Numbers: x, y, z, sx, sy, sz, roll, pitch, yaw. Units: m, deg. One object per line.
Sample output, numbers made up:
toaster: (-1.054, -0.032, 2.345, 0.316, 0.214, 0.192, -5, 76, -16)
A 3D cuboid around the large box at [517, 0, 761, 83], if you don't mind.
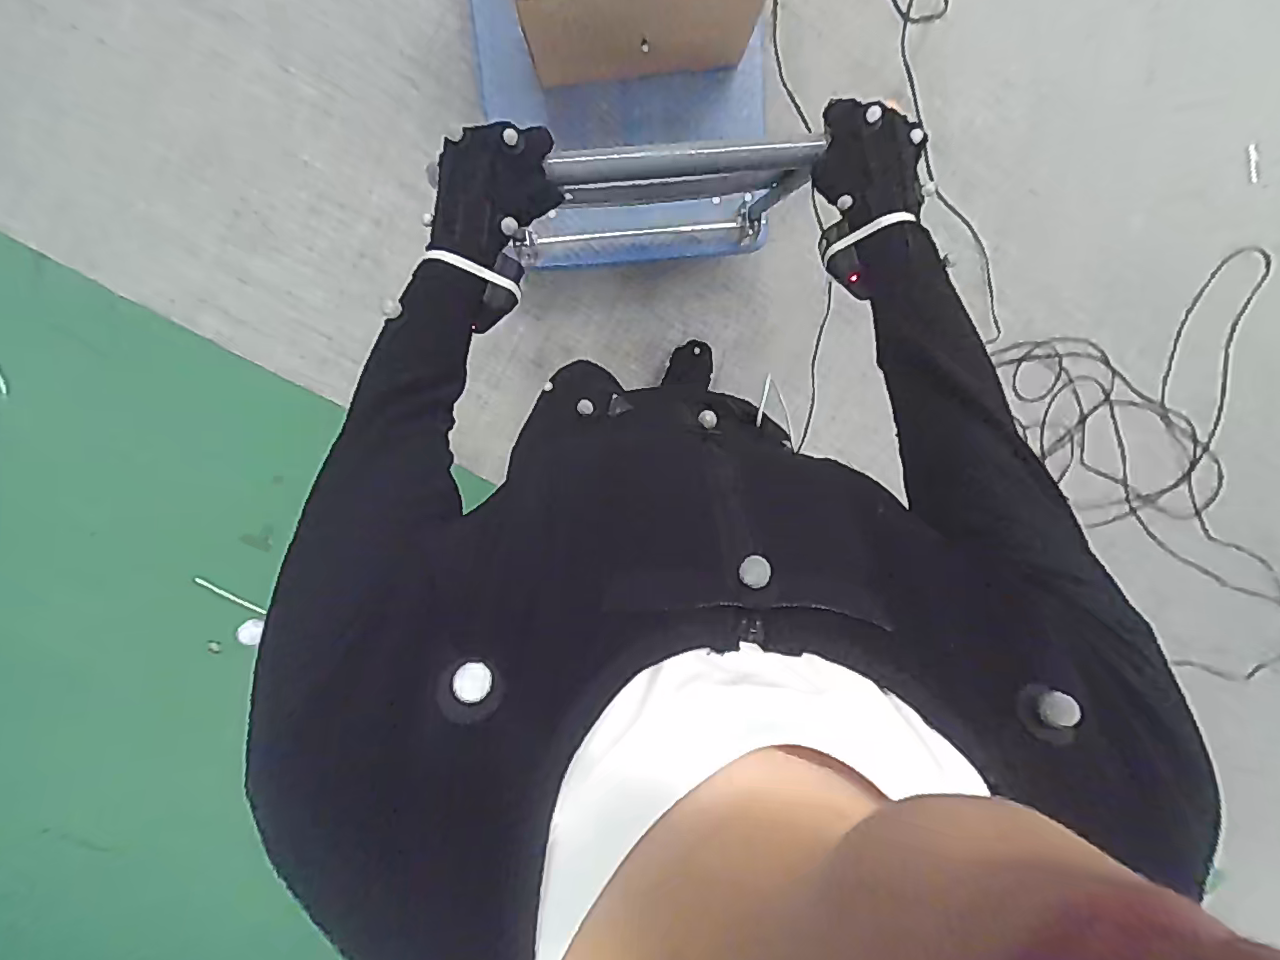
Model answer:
large box: (-0.013, -0.931, 0.910, 0.408, 0.320, 0.320, -8, 104, 0)
